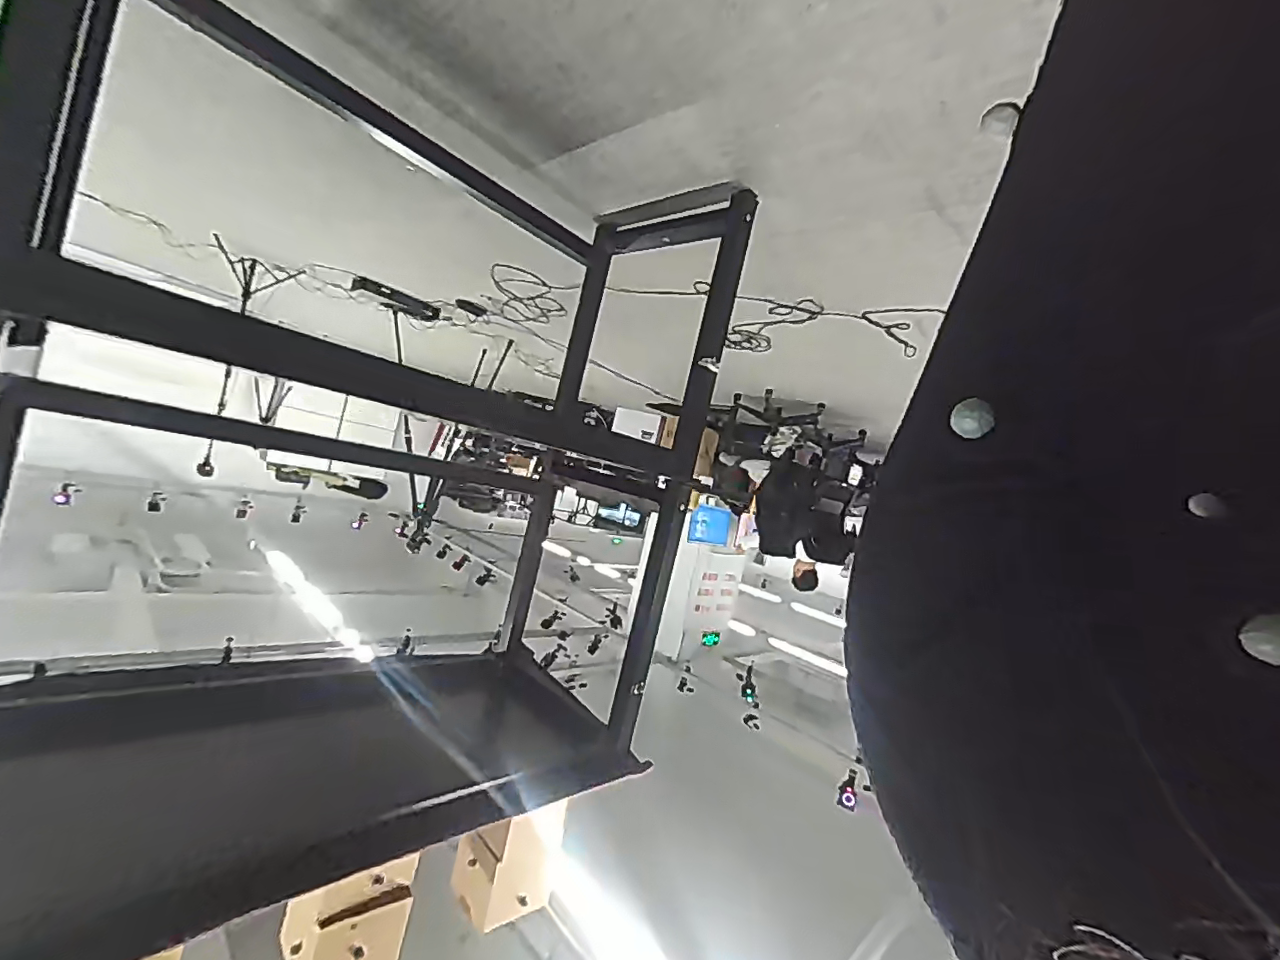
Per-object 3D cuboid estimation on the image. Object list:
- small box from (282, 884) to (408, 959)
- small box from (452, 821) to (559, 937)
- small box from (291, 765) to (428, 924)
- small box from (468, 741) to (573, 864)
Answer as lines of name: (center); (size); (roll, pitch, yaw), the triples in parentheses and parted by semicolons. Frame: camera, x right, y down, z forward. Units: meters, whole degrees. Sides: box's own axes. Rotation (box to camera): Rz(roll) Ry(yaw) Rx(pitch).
small box: (-0.565, 0.846, 1.042); (0.168, 0.176, 0.179); (14, -179, -42)
small box: (-0.313, 0.905, 1.278); (0.179, 0.176, 0.168); (12, 180, -42)
small box: (-0.537, 0.684, 1.043); (0.168, 0.176, 0.179); (15, -179, 43)
small box: (-0.278, 0.744, 1.272); (0.168, 0.176, 0.179); (12, 180, -43)
